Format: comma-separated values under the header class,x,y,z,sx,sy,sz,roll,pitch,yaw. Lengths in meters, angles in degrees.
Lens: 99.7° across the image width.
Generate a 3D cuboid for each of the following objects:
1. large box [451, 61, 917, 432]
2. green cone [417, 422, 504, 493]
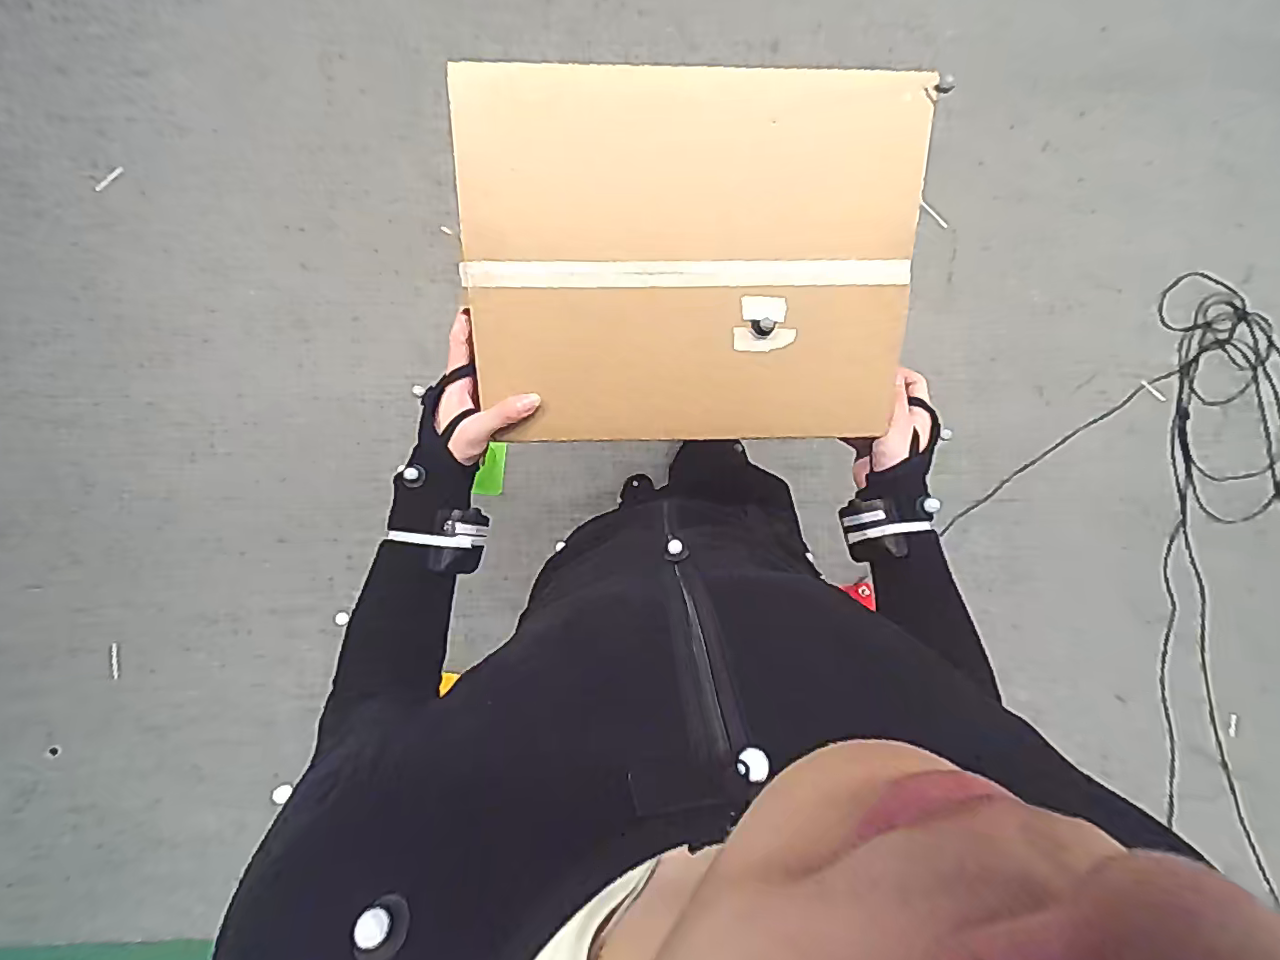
class,x,y,z,sx,sy,sz,roll,pitch,yaw
large box,0.033,-0.247,0.639,0.408,0.320,0.320,-2,109,-4
green cone,-0.505,-0.055,1.431,0.200,0.368,0.202,5,93,-2
